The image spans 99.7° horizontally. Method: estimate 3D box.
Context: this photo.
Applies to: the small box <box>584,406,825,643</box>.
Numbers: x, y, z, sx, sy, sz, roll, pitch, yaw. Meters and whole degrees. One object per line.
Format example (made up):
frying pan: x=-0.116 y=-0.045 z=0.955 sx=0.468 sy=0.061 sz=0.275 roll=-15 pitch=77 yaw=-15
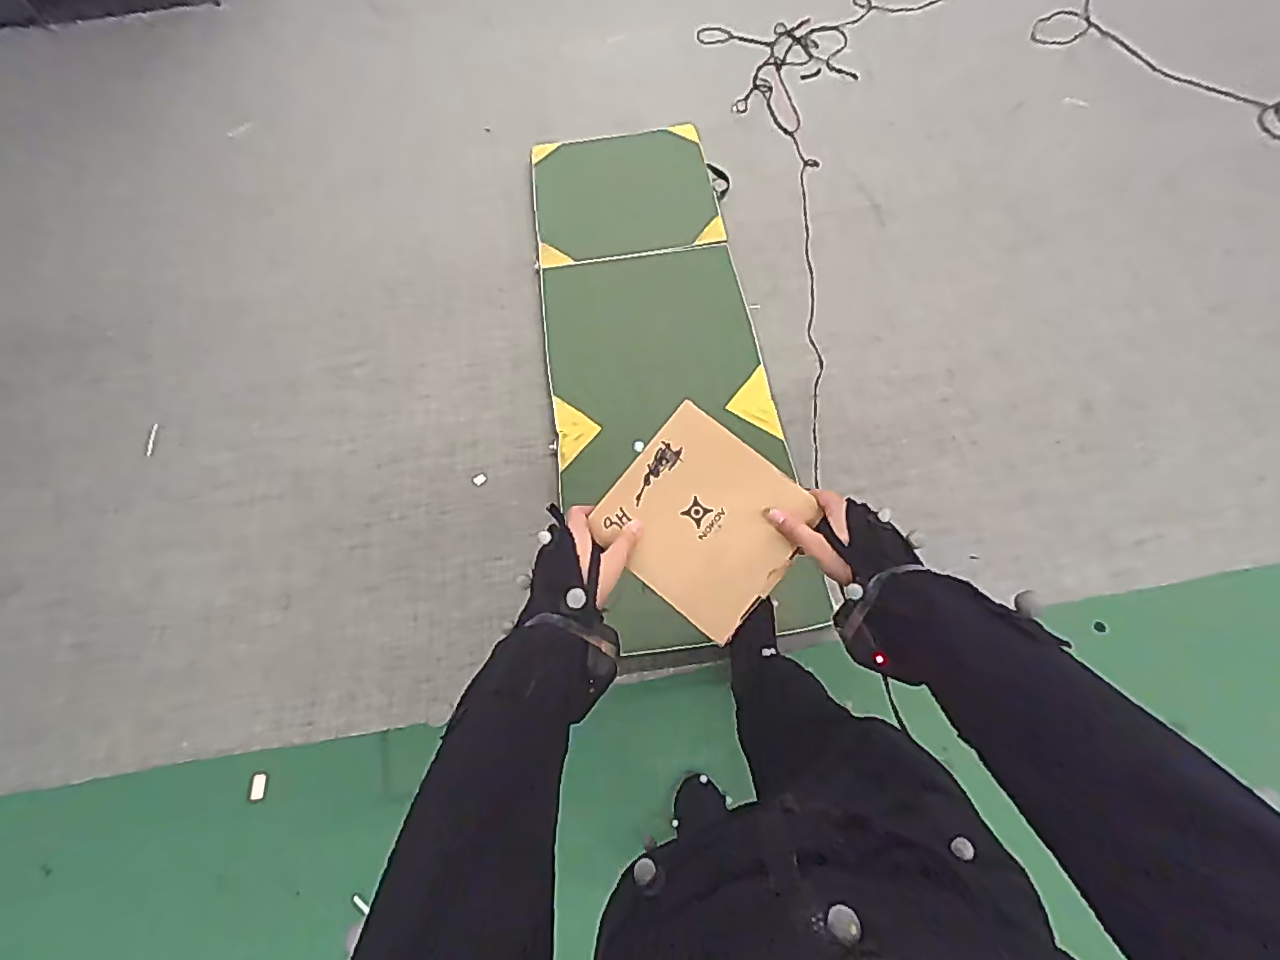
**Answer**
small box: x=0.066 y=0.050 z=0.601 sx=0.179 sy=0.176 sz=0.168 roll=40 pitch=85 yaw=8
